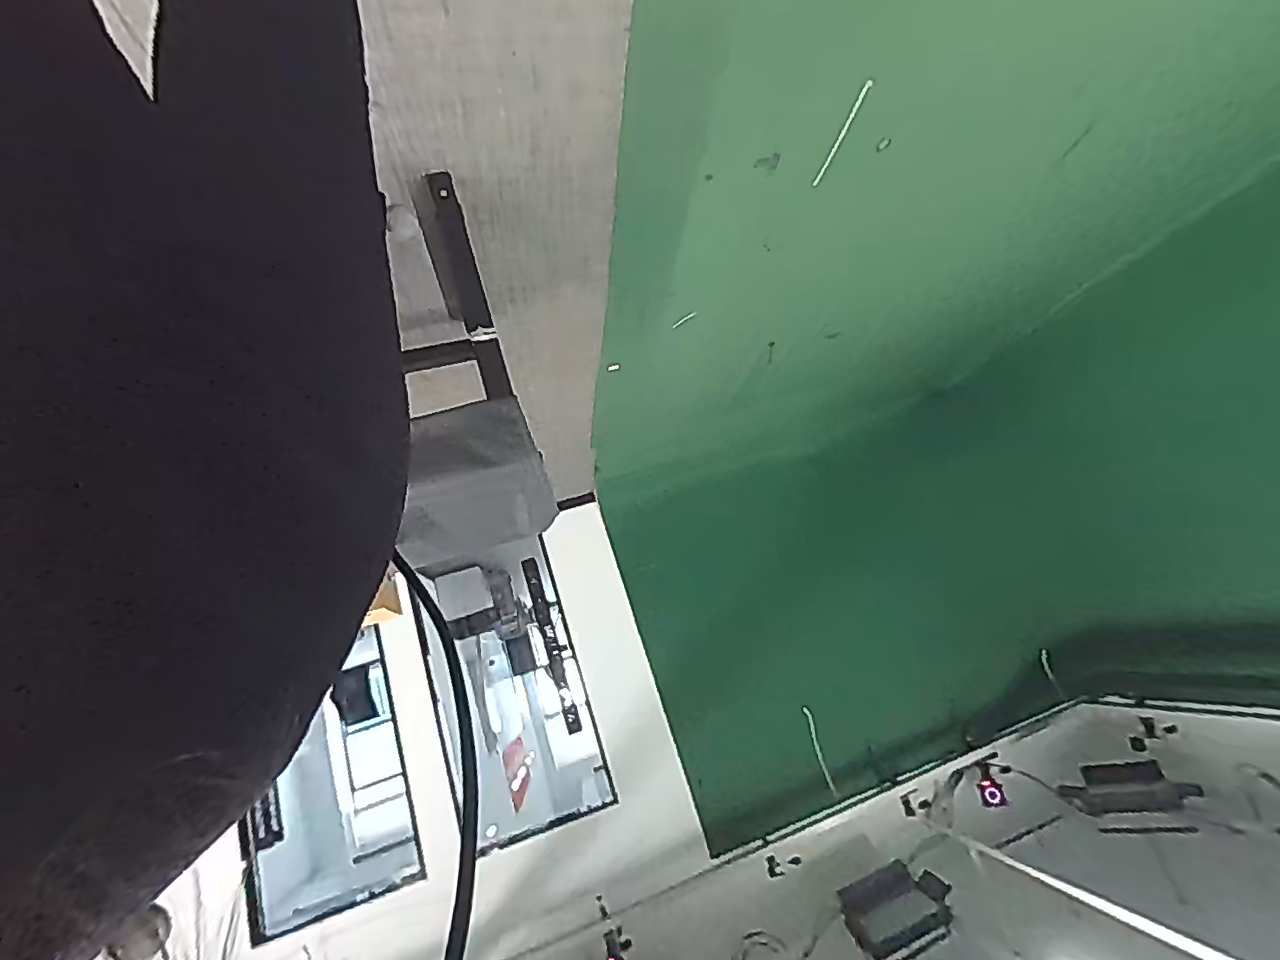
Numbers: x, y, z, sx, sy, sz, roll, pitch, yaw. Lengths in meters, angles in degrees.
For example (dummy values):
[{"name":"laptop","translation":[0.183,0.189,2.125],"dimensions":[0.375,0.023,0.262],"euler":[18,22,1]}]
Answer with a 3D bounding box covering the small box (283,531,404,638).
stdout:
[{"name":"small box","translation":[-0.606,0.213,1.114],"dimensions":[0.168,0.176,0.179],"euler":[-14,165,-15]}]
